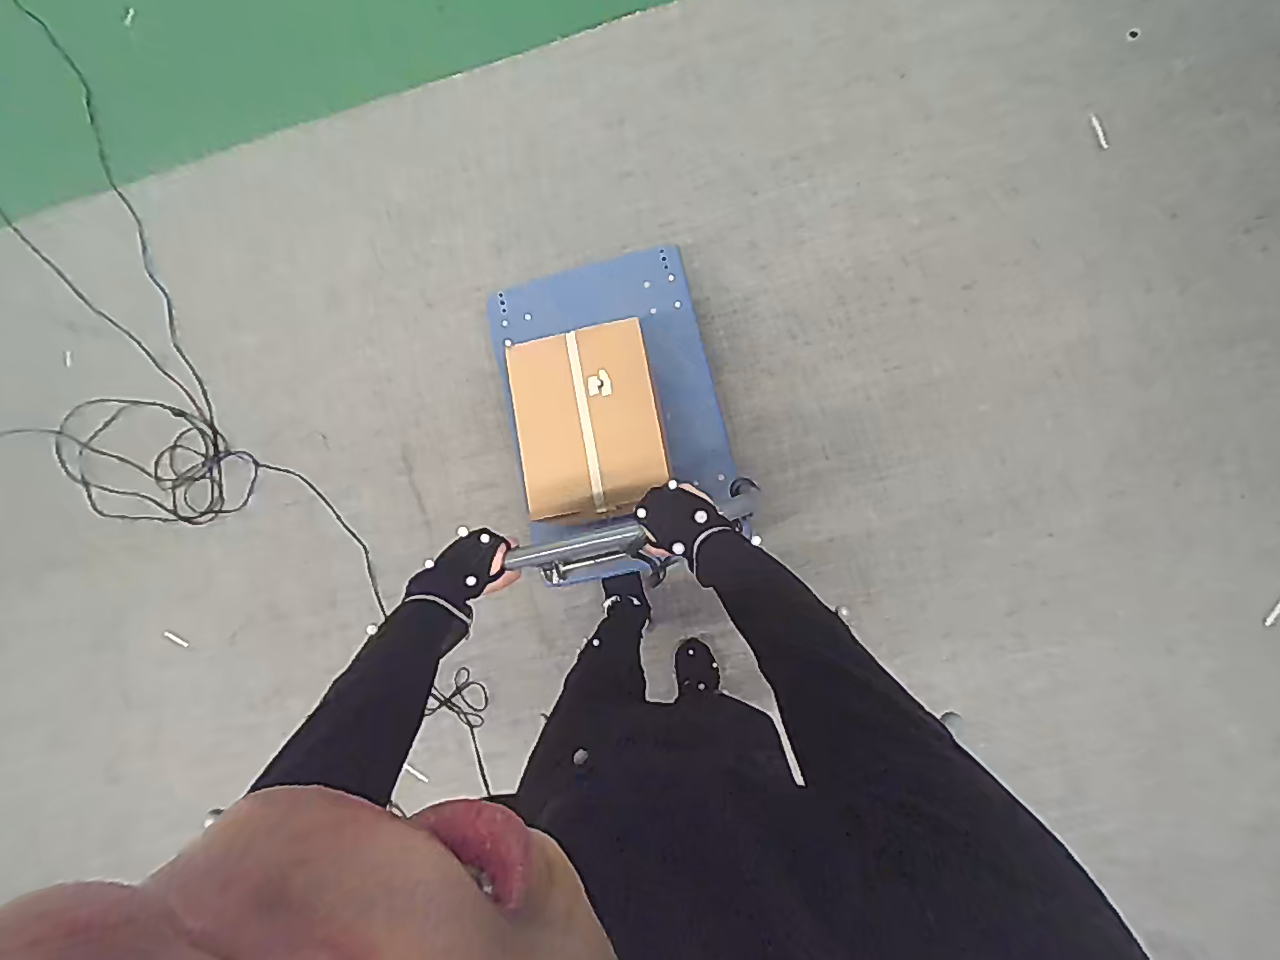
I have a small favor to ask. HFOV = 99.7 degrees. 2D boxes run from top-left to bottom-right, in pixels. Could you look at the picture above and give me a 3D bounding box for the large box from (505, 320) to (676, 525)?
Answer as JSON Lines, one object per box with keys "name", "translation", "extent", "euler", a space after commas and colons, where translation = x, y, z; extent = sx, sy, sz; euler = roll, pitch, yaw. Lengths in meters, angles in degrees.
{"name": "large box", "translation": [-0.105, -0.117, 1.332], "extent": [0.320, 0.320, 0.408], "euler": [-11, 81, 5]}
